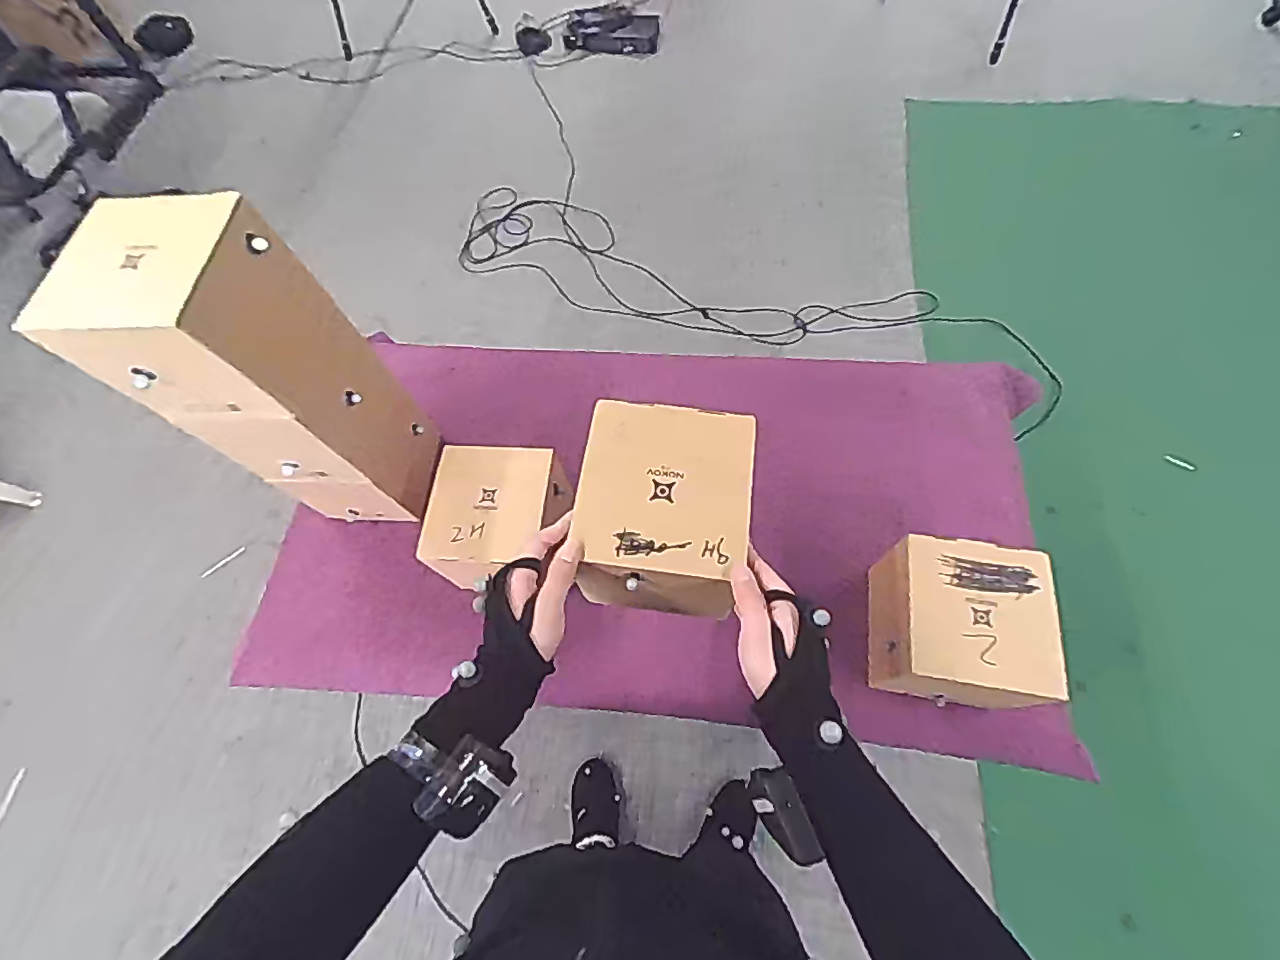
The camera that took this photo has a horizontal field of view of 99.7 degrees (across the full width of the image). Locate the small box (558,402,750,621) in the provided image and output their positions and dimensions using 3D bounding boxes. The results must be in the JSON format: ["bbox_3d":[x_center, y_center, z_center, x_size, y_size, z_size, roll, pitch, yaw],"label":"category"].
[{"bbox_3d":[0.020,0.040,0.588,0.168,0.176,0.179,7,65,6],"label":"small box"}]

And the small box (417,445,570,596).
[{"bbox_3d":[-0.206,0.065,0.823,0.168,0.176,0.179,3,65,6],"label":"small box"}]

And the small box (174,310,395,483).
[{"bbox_3d":[-0.467,-0.111,0.746,0.168,0.176,0.179,1,66,6],"label":"small box"}]

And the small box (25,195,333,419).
[{"bbox_3d":[-0.480,-0.180,0.599,0.168,0.176,0.179,0,65,6],"label":"small box"}]

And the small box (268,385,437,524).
[{"bbox_3d":[-0.456,-0.041,0.893,0.168,0.176,0.179,2,66,6],"label":"small box"}]
